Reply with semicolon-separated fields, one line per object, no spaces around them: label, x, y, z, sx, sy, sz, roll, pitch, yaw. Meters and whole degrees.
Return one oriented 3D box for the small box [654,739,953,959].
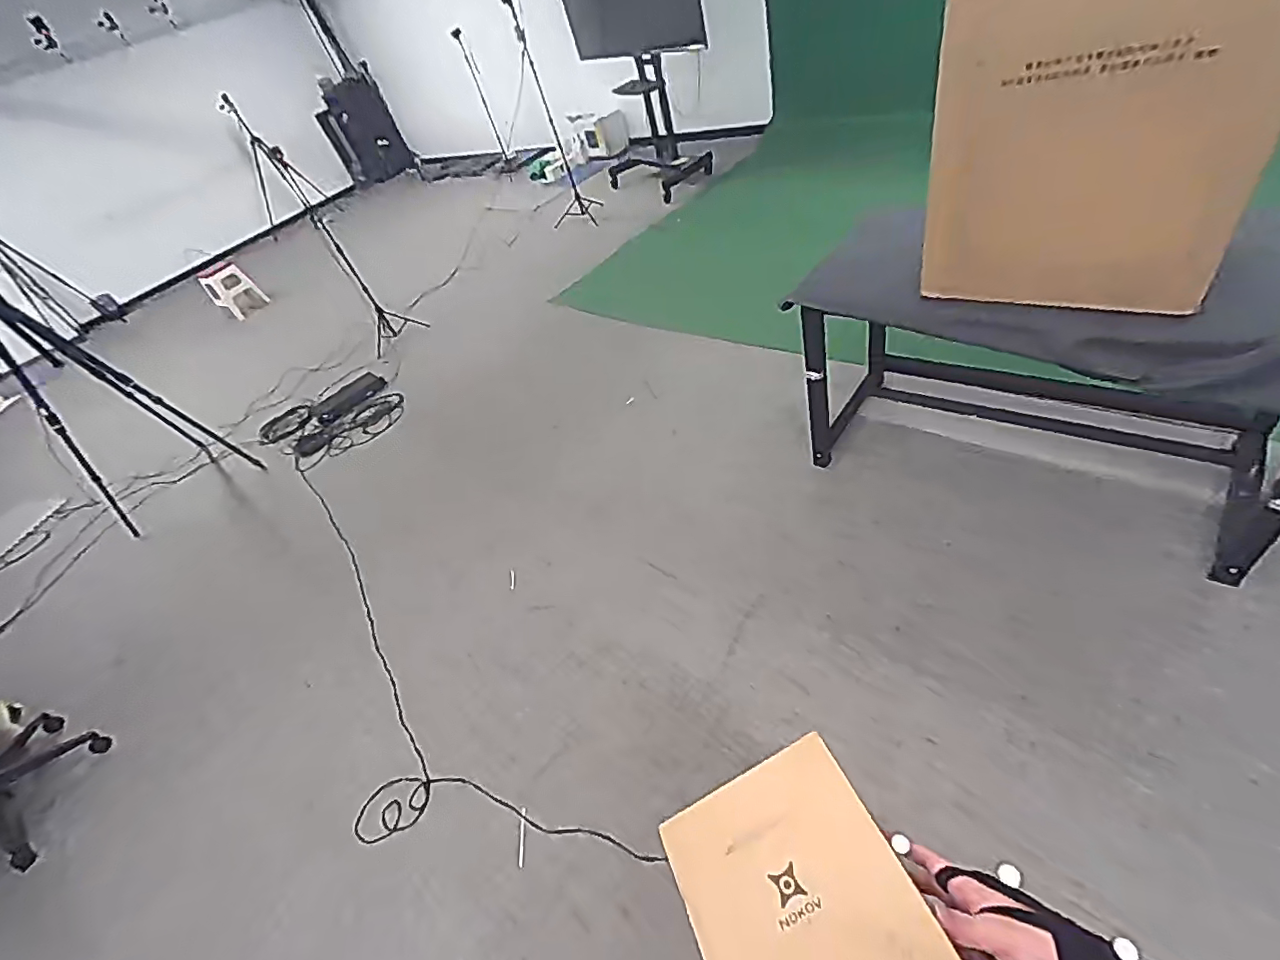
small box;0.142;0.364;0.461;0.168;0.176;0.179;-32;42;1
